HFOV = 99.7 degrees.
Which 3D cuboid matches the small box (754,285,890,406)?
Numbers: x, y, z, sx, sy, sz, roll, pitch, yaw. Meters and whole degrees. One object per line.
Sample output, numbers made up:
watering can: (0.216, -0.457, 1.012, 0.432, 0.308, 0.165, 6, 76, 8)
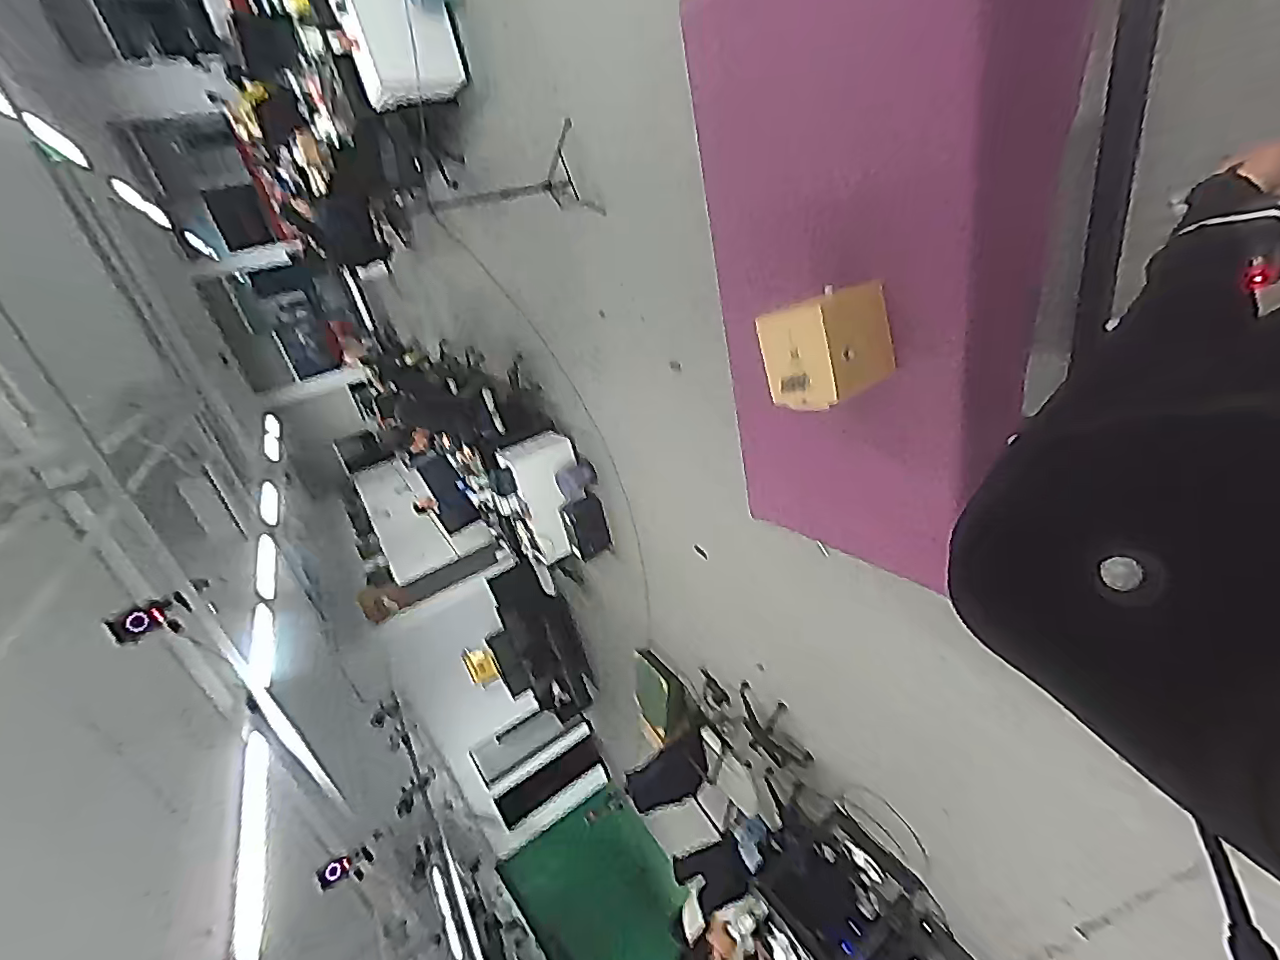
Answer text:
small box: (0.352, -0.252, 1.036, 0.168, 0.176, 0.179, 12, 123, 60)
